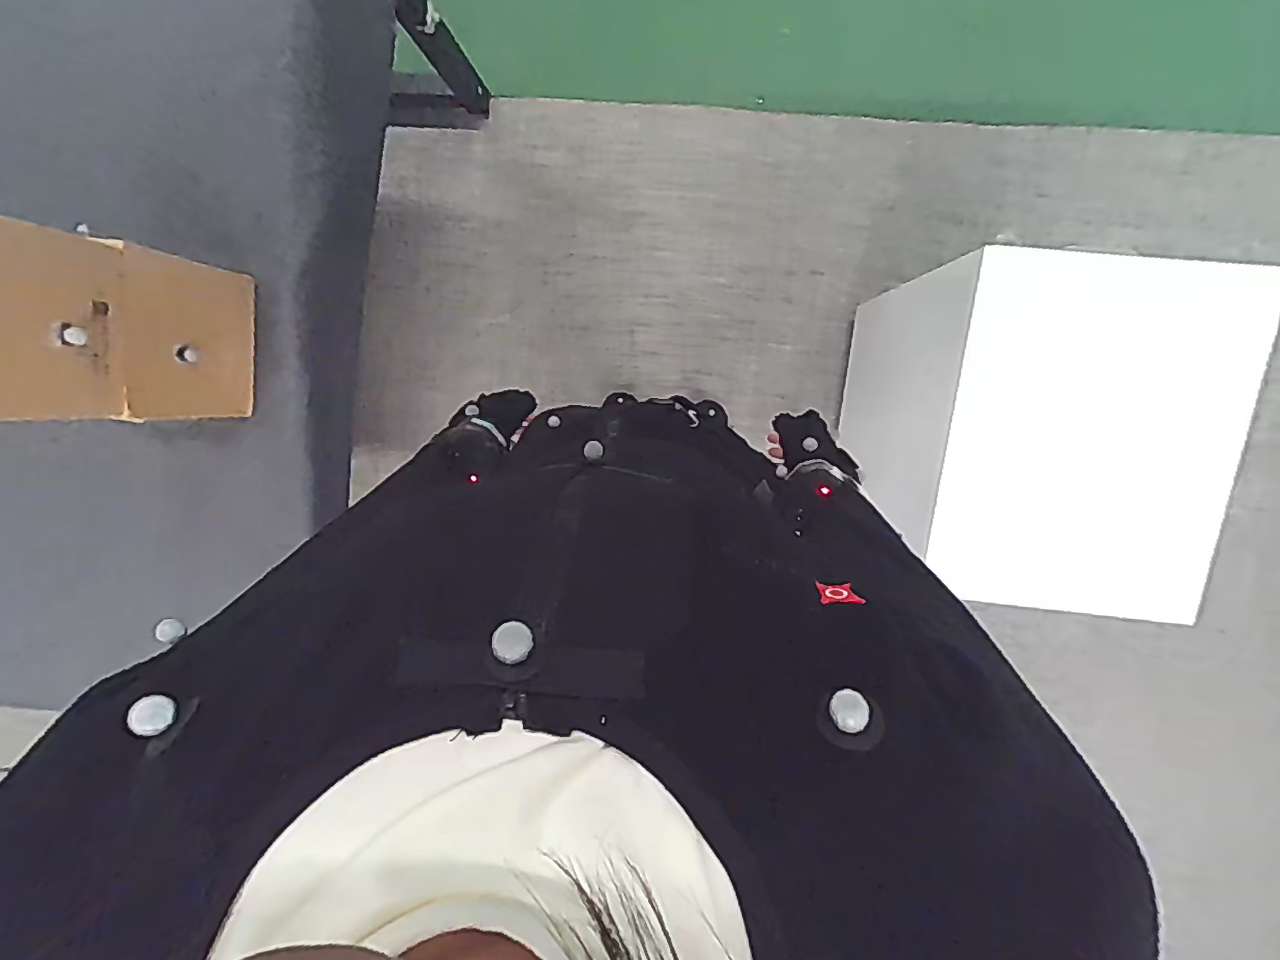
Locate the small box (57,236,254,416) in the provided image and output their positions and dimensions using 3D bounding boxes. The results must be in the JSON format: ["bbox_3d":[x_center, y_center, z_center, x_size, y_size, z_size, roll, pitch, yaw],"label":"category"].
[{"bbox_3d":[-0.583,-0.176,0.622,0.168,0.176,0.179,8,101,4],"label":"small box"}]
